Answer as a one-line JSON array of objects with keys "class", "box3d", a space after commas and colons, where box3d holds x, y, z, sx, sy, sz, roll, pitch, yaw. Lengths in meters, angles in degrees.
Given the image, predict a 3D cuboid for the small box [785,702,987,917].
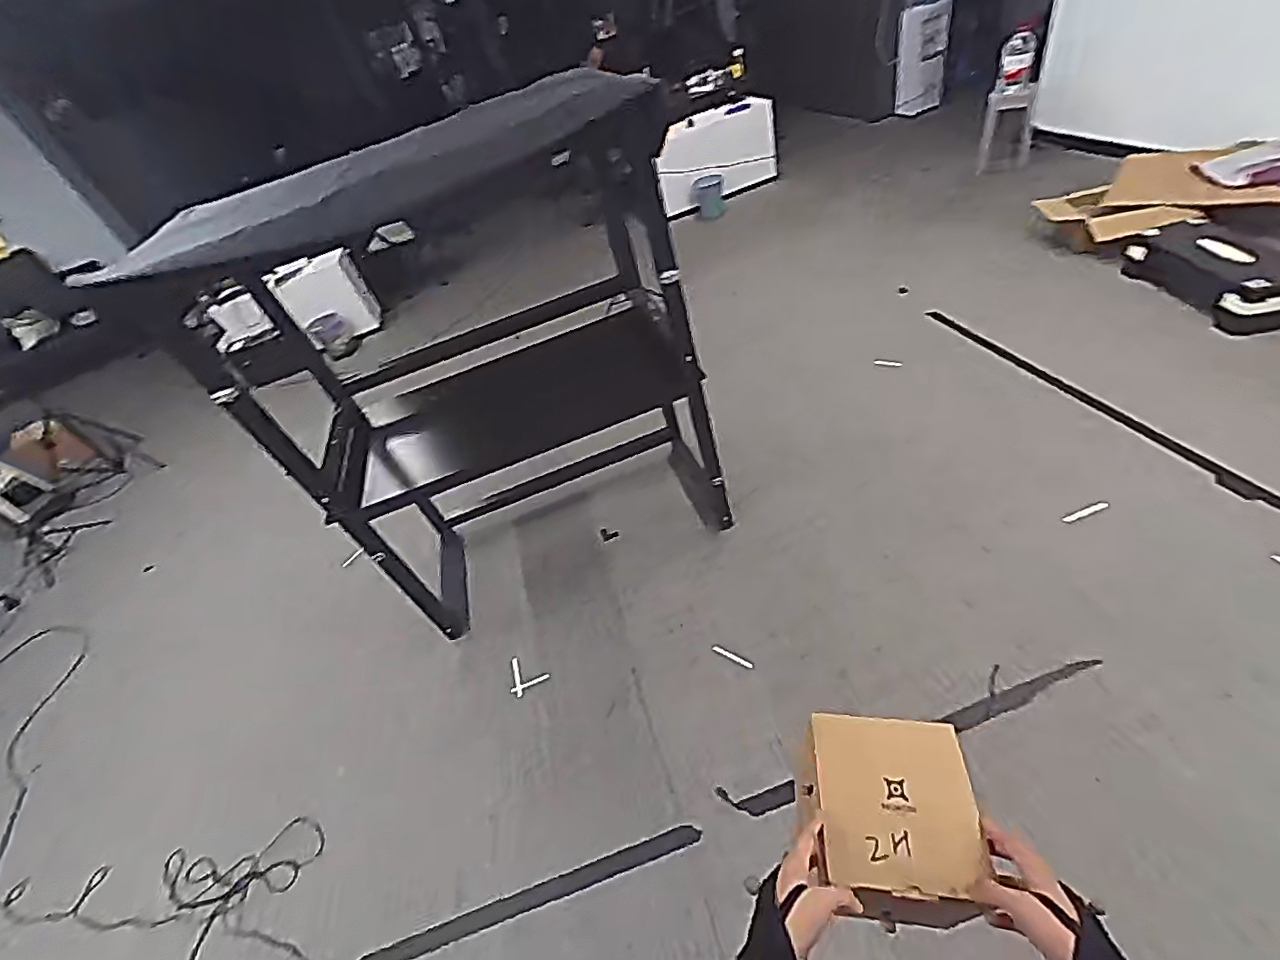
[{"class": "small box", "box3d": [0.272, 0.394, 0.651, 0.168, 0.176, 0.179, 1, 45, 8]}]
